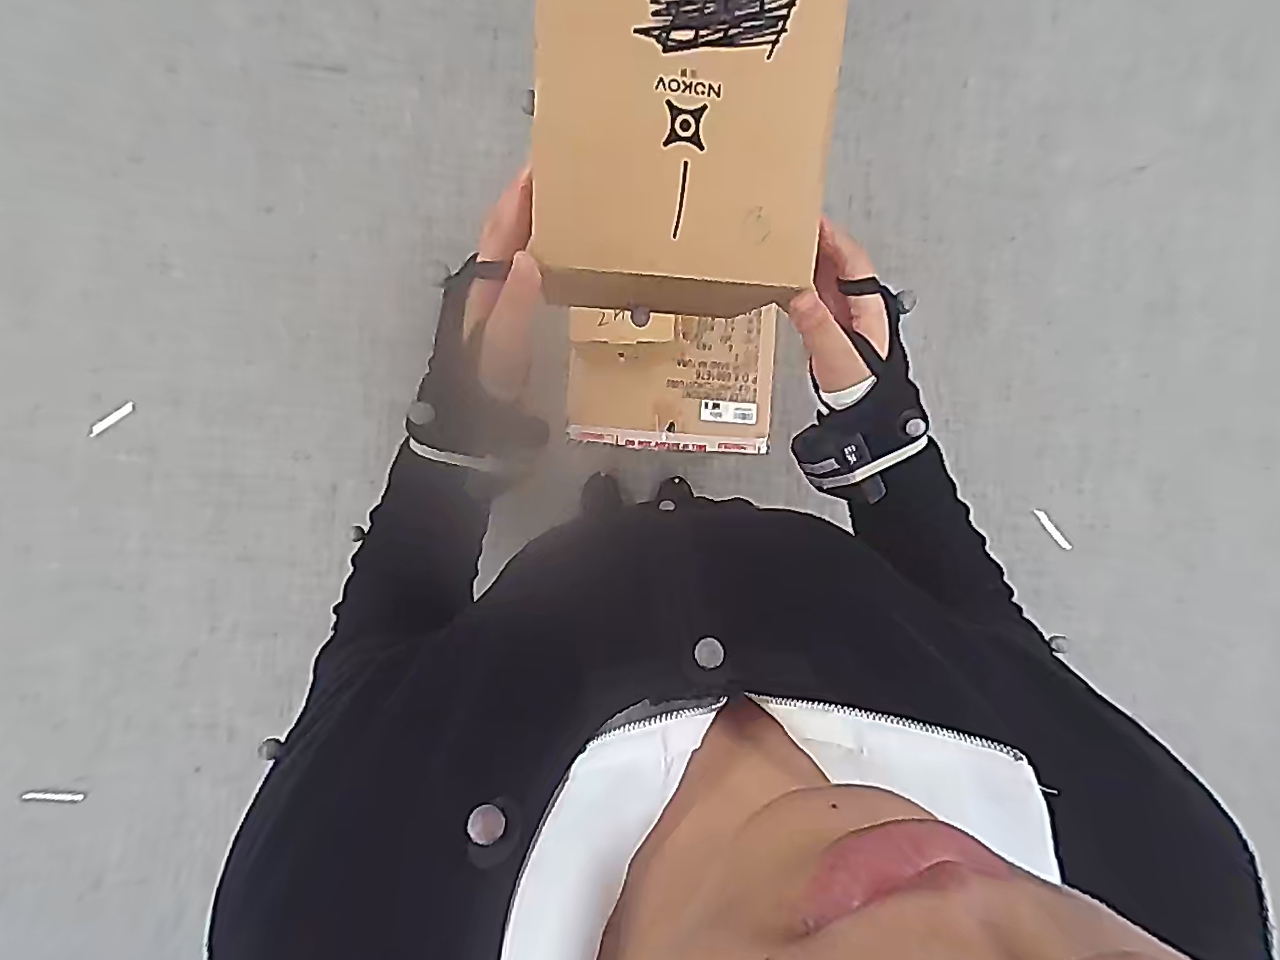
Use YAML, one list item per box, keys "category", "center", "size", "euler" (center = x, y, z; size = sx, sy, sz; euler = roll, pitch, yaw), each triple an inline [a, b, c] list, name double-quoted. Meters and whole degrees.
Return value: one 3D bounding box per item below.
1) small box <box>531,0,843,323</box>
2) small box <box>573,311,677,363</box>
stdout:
- category: "small box"
  center: [0.016, -0.212, 0.371]
  size: [0.168, 0.176, 0.179]
  euler: [2, 100, -6]
- category: "small box"
  center: [-0.024, -0.303, 0.921]
  size: [0.168, 0.176, 0.179]
  euler: [0, 94, -1]
